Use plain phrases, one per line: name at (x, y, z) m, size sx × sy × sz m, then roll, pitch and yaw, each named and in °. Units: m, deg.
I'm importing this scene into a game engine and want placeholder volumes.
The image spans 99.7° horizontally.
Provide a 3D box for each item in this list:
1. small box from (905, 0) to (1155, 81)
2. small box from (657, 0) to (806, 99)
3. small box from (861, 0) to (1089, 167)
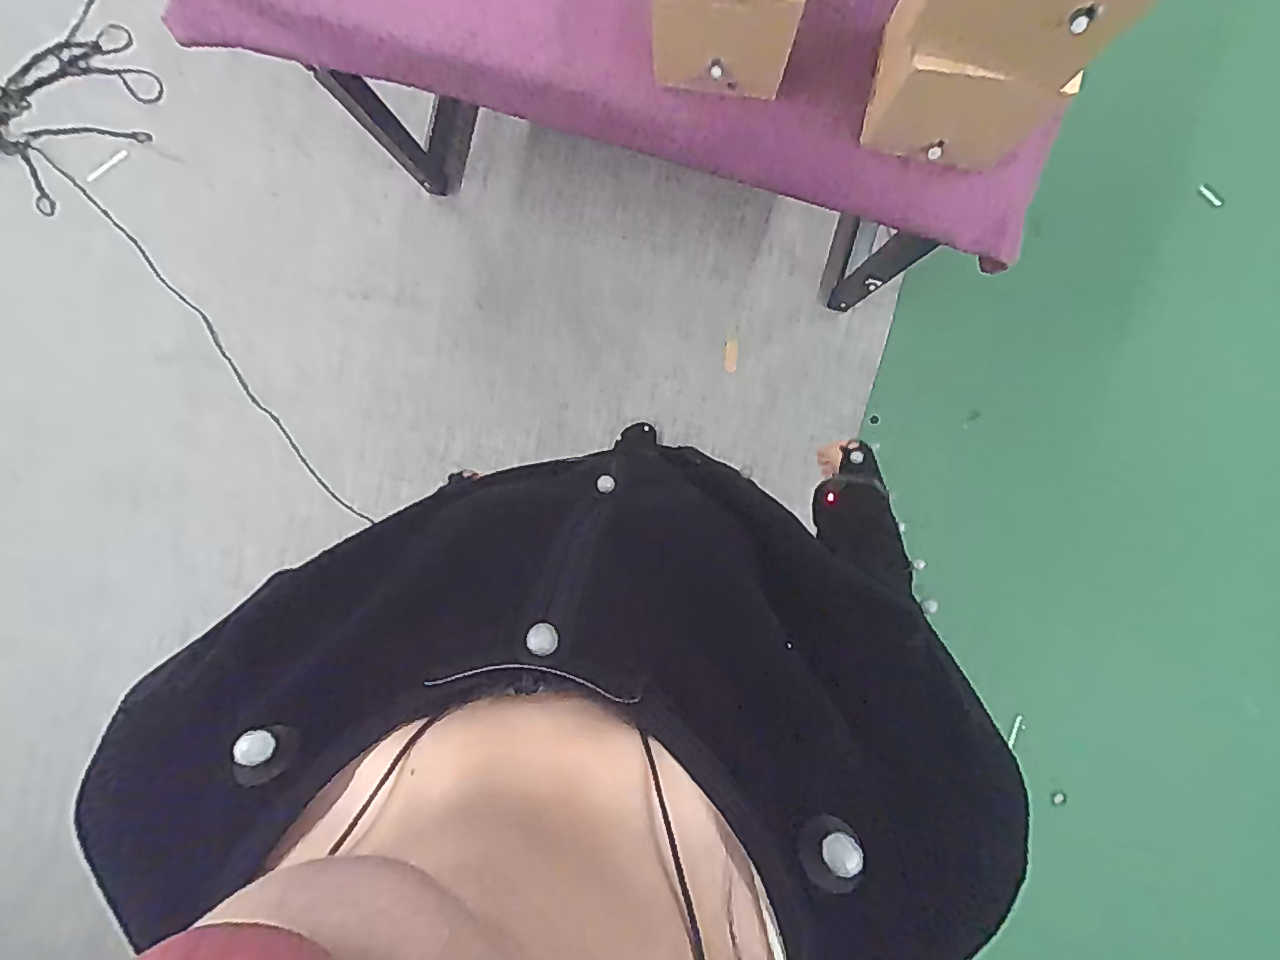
small box at (0.373, -0.498, 0.473) m, size 0.179 × 0.176 × 0.168 m, roll 18°, pitch 95°, yaw 3°
small box at (0.112, -0.604, 0.643) m, size 0.168 × 0.176 × 0.179 m, roll 9°, pitch 94°, yaw 3°
small box at (0.391, -0.500, 0.636) m, size 0.179 × 0.176 × 0.168 m, roll 12°, pitch 95°, yaw 2°
